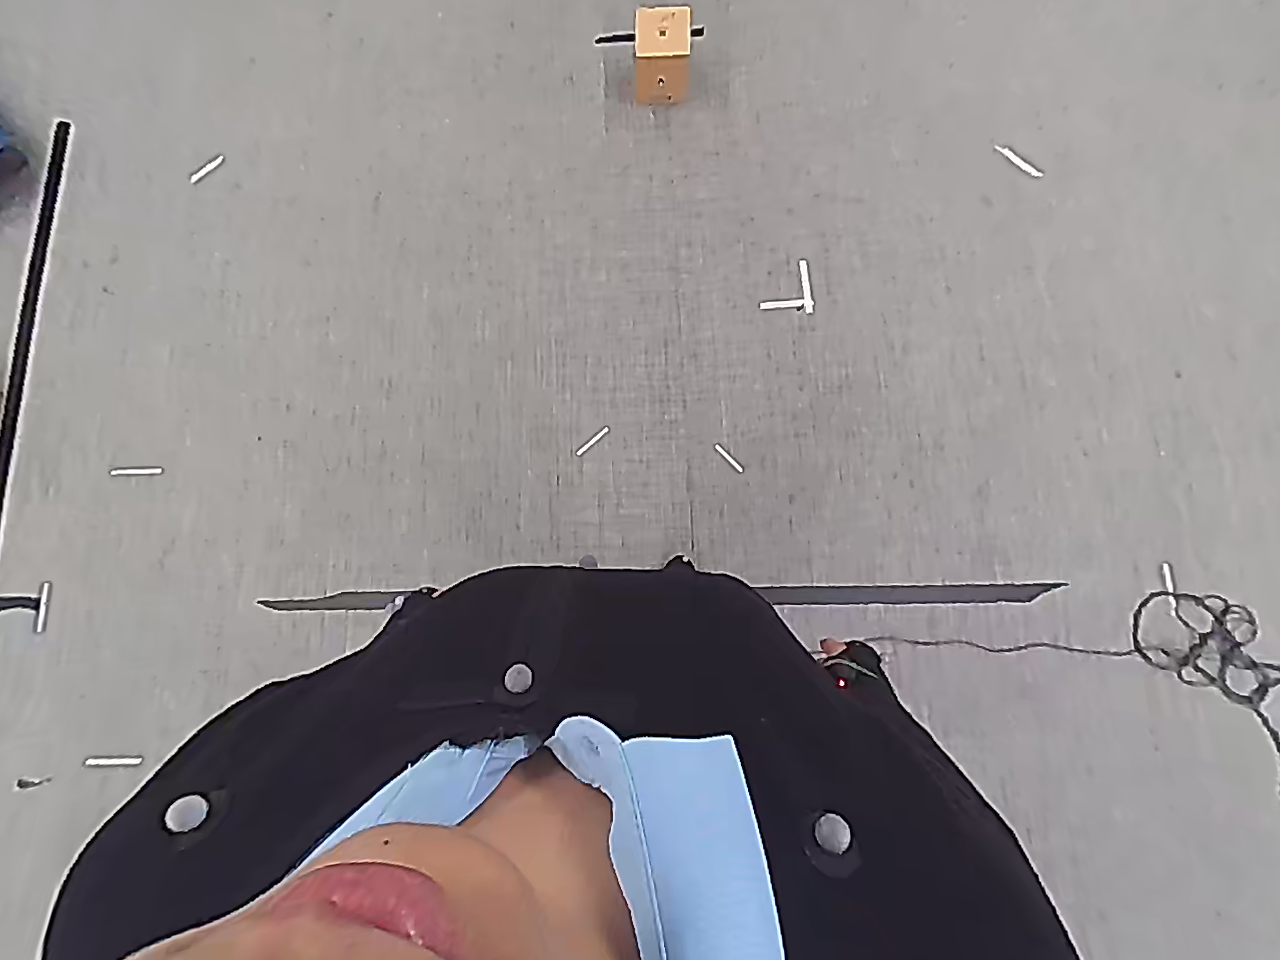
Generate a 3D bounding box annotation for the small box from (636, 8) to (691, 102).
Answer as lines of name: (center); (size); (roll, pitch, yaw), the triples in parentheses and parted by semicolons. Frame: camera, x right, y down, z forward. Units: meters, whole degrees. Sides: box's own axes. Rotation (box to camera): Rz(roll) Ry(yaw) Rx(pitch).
small box: (0.074, -1.324, 1.695); (0.168, 0.176, 0.179); (0, 80, 2)
